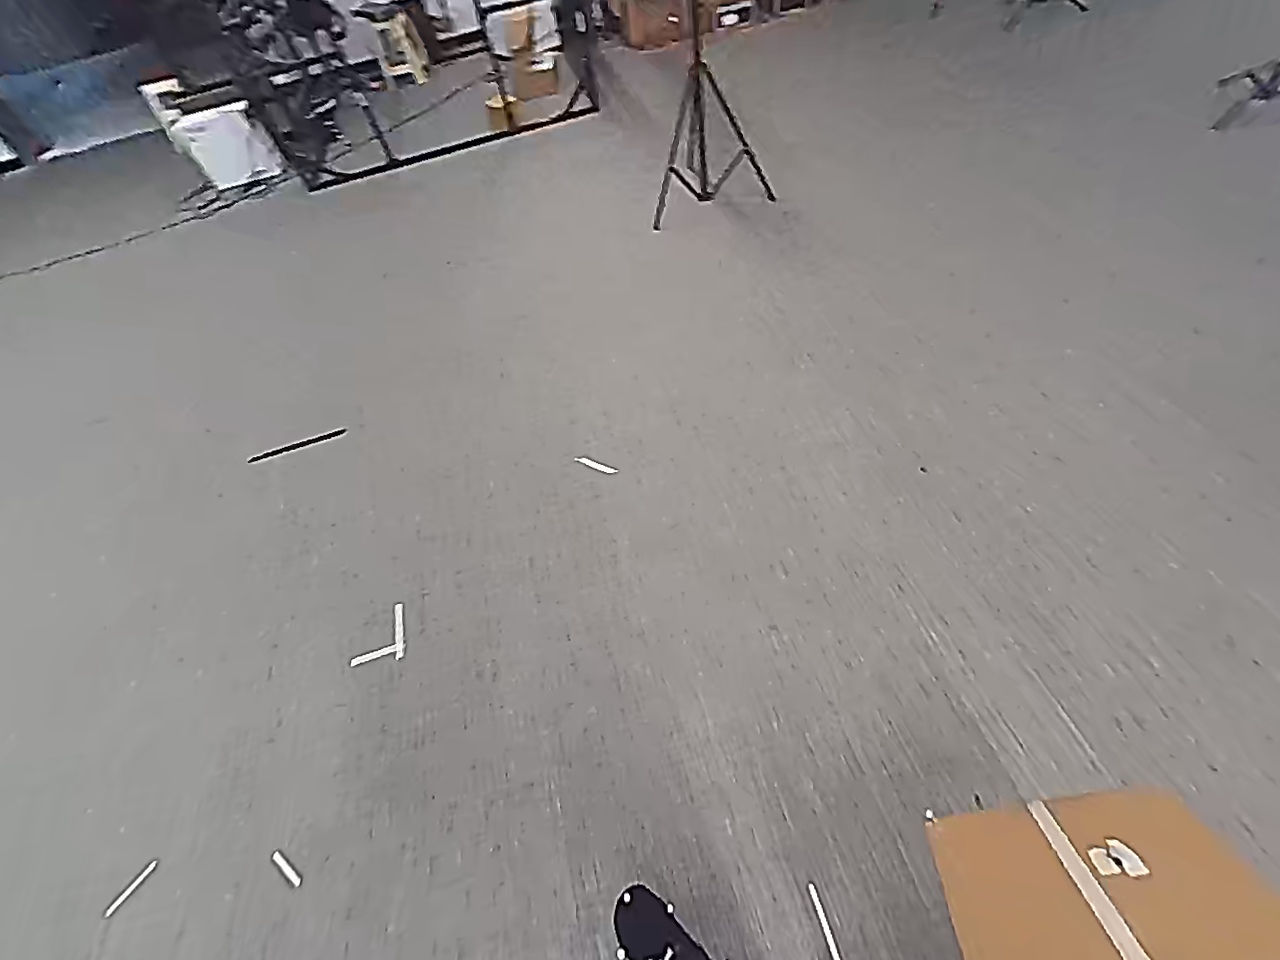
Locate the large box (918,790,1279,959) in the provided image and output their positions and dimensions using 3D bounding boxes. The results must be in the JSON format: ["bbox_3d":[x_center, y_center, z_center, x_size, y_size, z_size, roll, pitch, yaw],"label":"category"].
[{"bbox_3d":[0.563,0.628,0.594,0.320,0.408,0.320,-21,84,16],"label":"large box"}]
